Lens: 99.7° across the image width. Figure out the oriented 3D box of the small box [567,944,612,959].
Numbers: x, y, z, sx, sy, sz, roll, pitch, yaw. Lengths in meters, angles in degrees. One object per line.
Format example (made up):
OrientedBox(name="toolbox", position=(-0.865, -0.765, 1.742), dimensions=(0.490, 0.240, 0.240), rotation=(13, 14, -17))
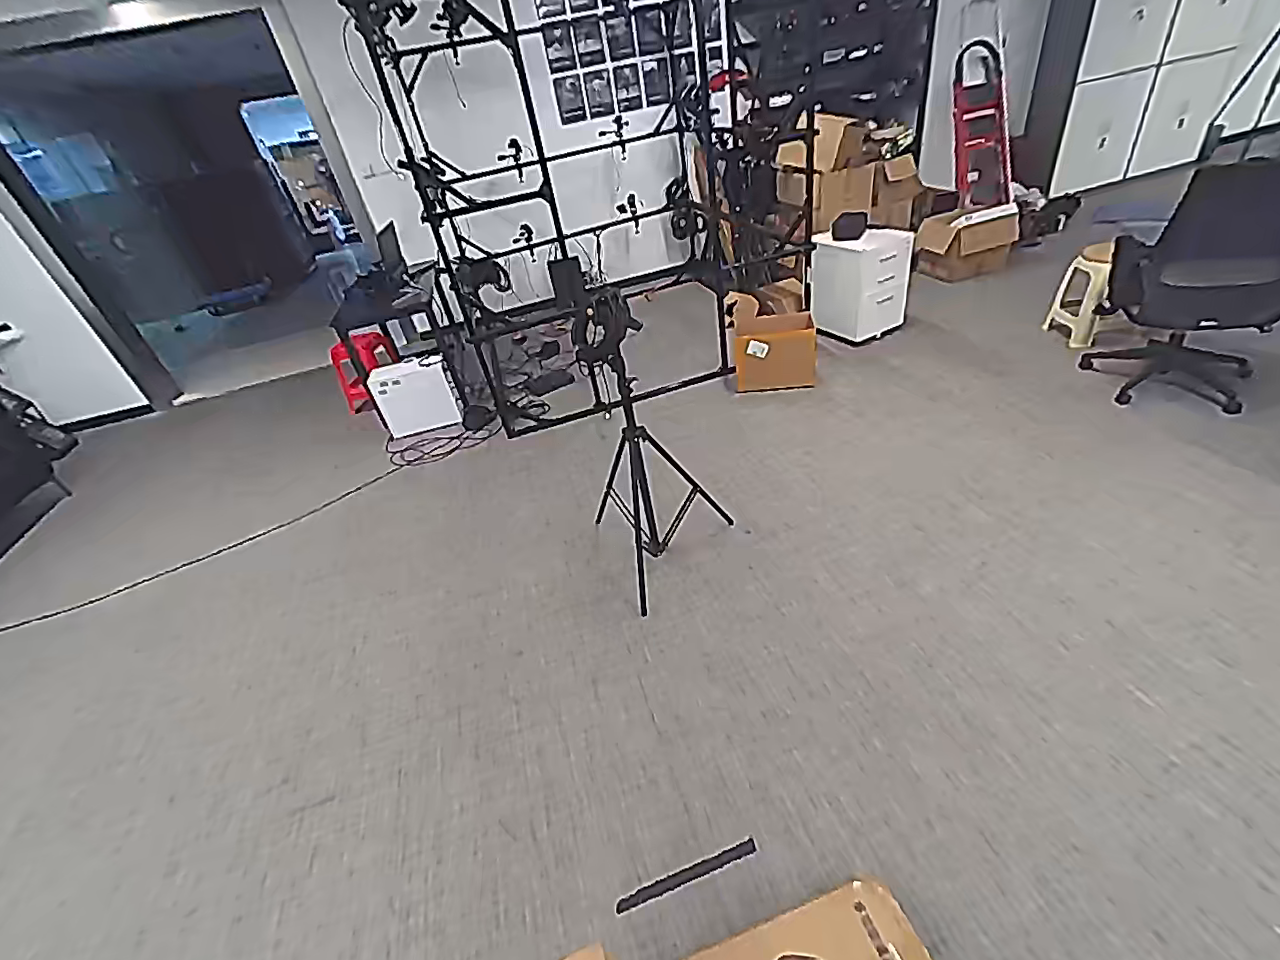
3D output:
OrientedBox(name="small box", position=(-0.097, 0.892, 0.849), dimensions=(0.168, 0.176, 0.179), rotation=(-18, 35, -10))
